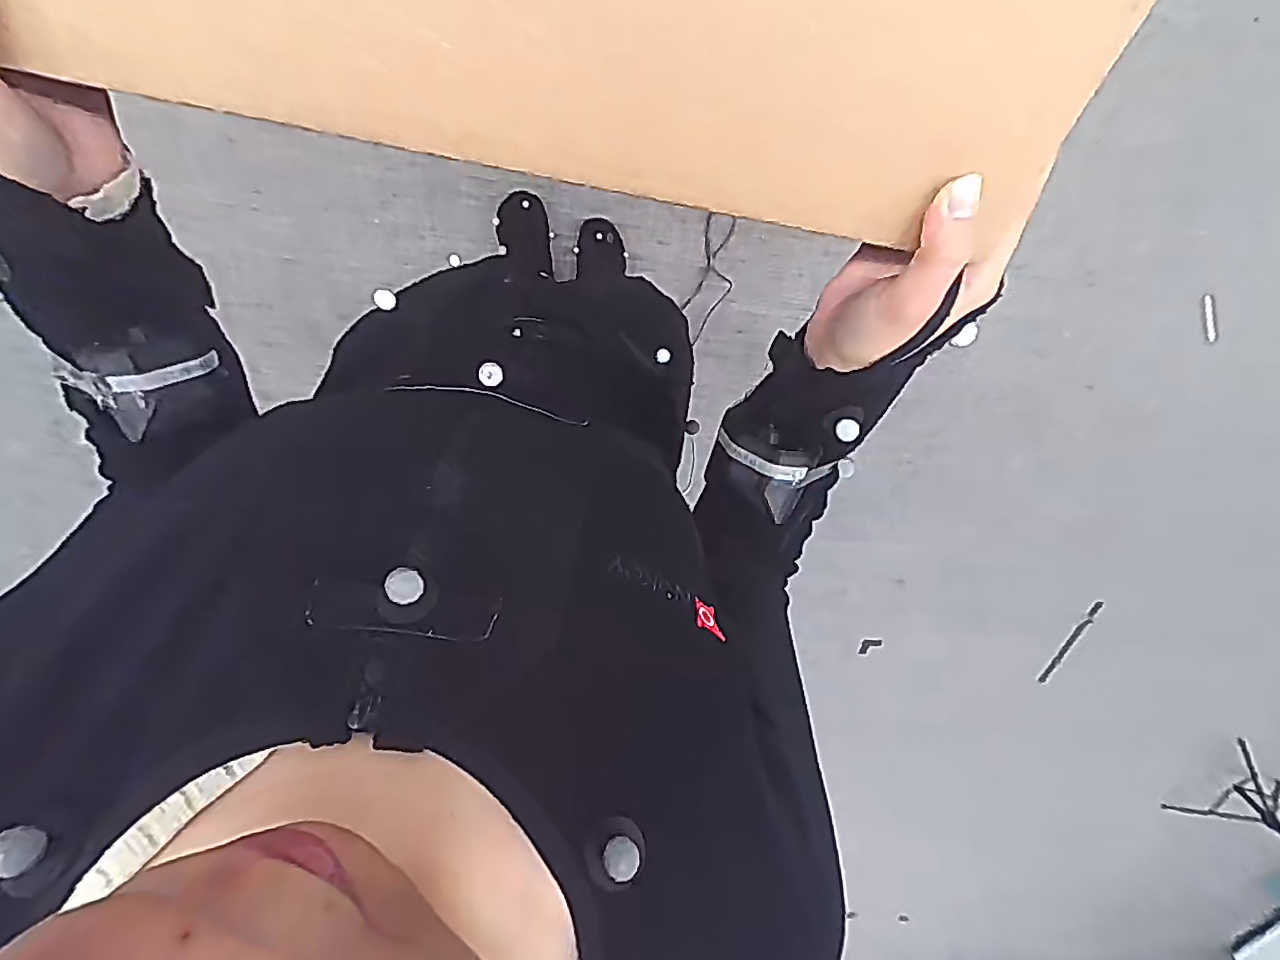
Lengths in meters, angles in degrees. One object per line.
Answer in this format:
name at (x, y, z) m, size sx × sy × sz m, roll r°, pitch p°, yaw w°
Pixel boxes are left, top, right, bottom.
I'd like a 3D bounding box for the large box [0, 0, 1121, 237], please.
large box at (-0.023, -0.339, 0.218) m, size 0.408 × 0.320 × 0.320 m, roll 7°, pitch 135°, yaw -7°
